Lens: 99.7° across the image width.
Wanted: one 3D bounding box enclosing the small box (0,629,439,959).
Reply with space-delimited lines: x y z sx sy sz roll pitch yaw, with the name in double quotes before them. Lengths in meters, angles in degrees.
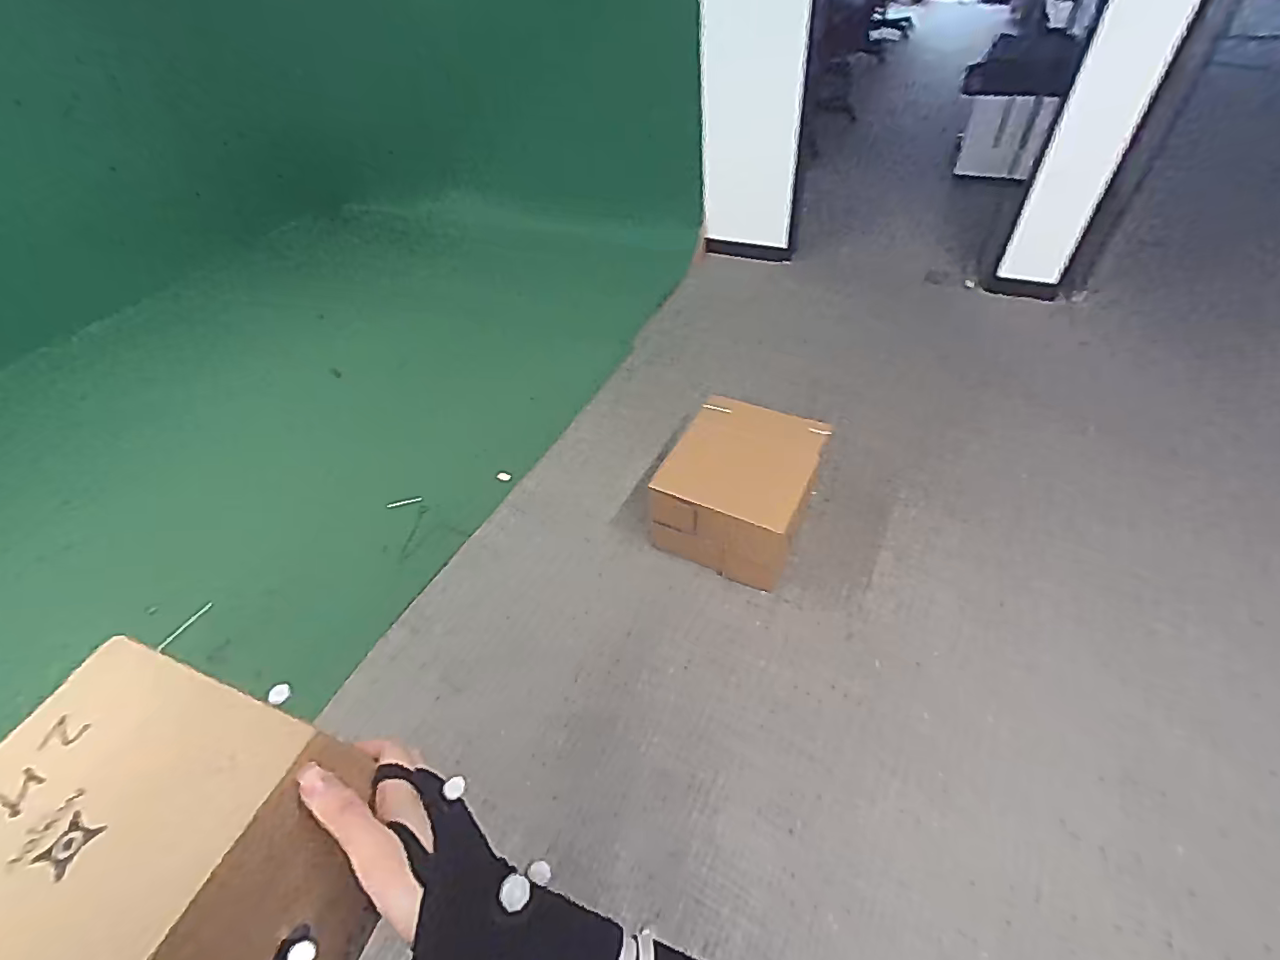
"small box" -0.258 0.224 0.327 0.179 0.176 0.168 13 49 21
